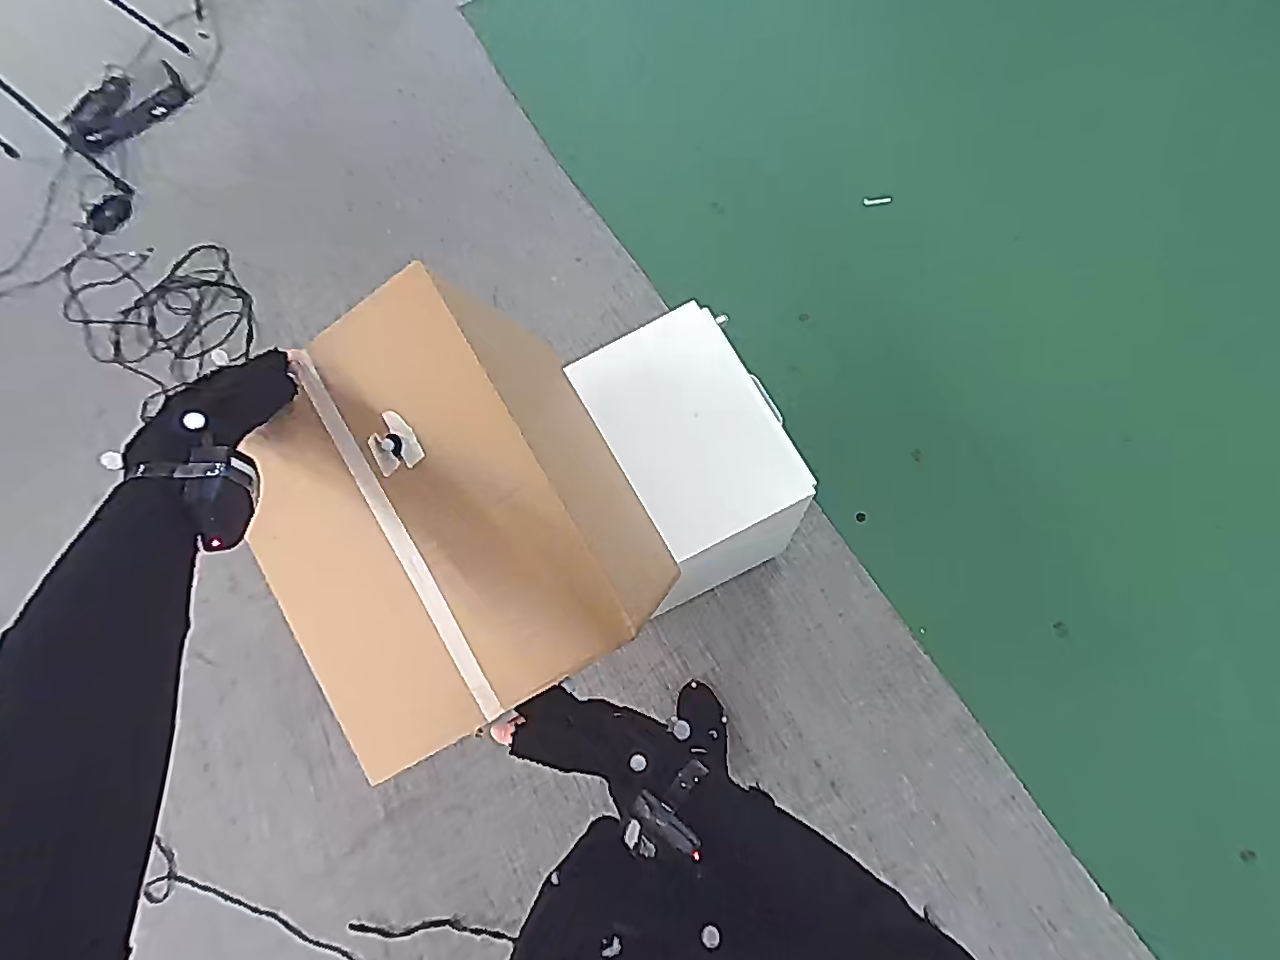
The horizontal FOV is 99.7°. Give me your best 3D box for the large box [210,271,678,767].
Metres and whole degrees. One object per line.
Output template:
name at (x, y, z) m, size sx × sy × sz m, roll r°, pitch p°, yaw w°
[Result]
large box at (-0.202, 0.042, 0.674) m, size 0.320 × 0.320 × 0.408 m, roll -33°, pitch 82°, yaw 9°
